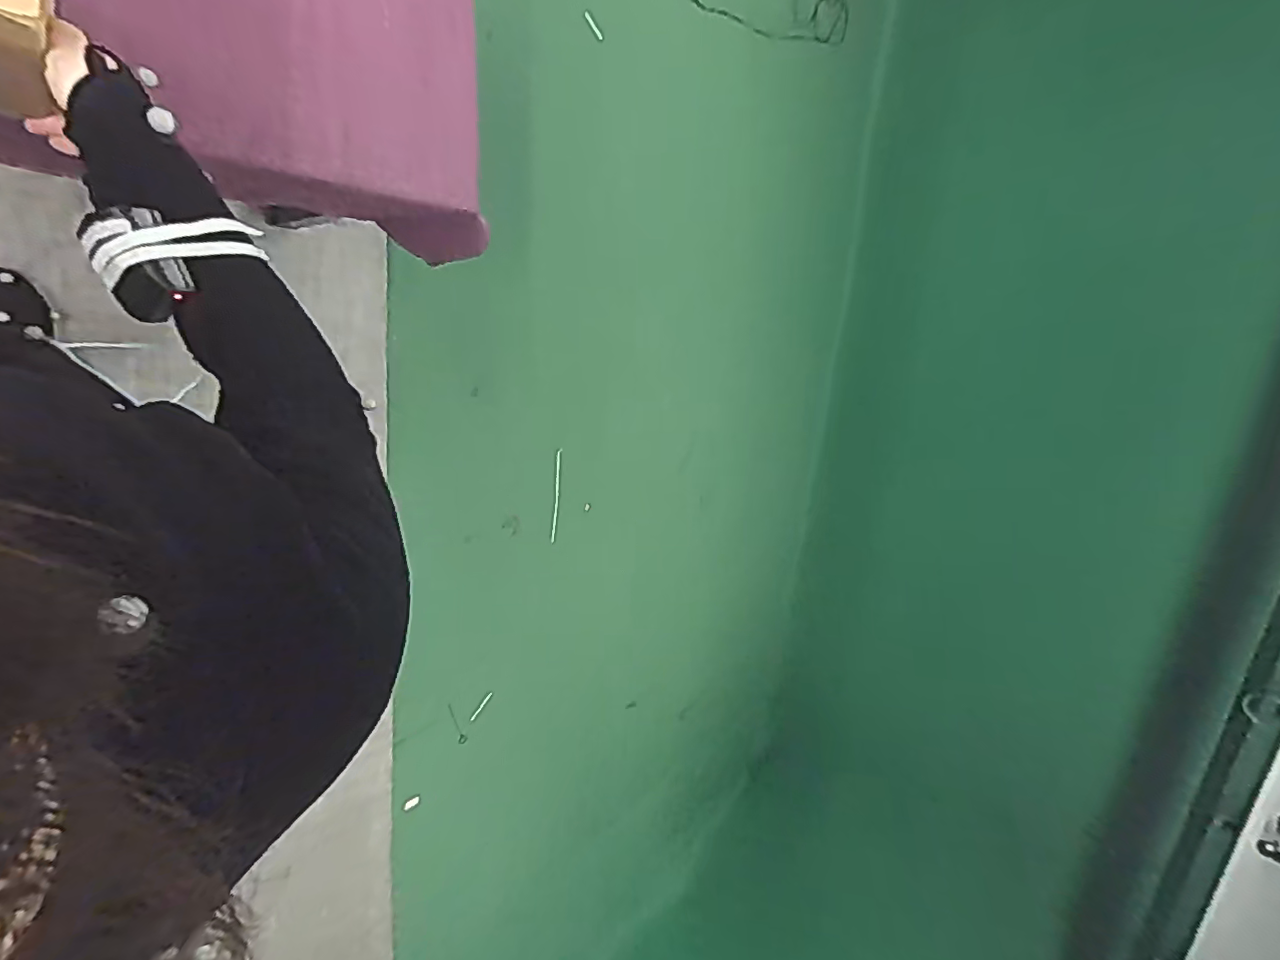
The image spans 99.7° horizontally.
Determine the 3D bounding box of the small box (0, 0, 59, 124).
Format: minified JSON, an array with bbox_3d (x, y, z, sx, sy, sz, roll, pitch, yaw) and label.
[{"bbox_3d":[-0.472,-0.363,0.320,0.168,0.176,0.179,0,95,-45],"label":"small box"}]
